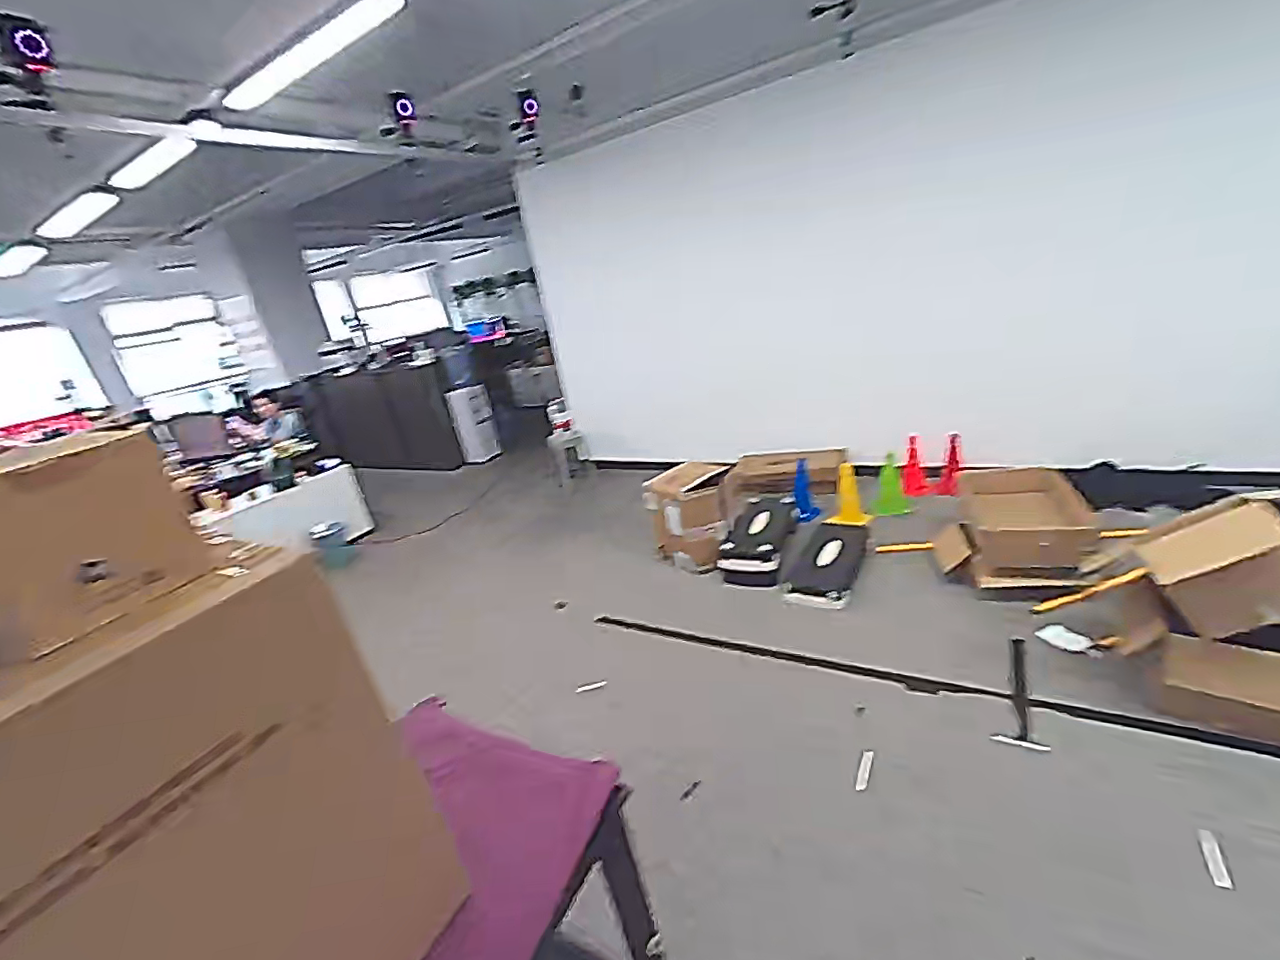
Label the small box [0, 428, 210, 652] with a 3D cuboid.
[{"bbox_3d":[-0.606,0.054,0.560,0.179,0.176,0.168,1,25,27],"label":"small box"}]
